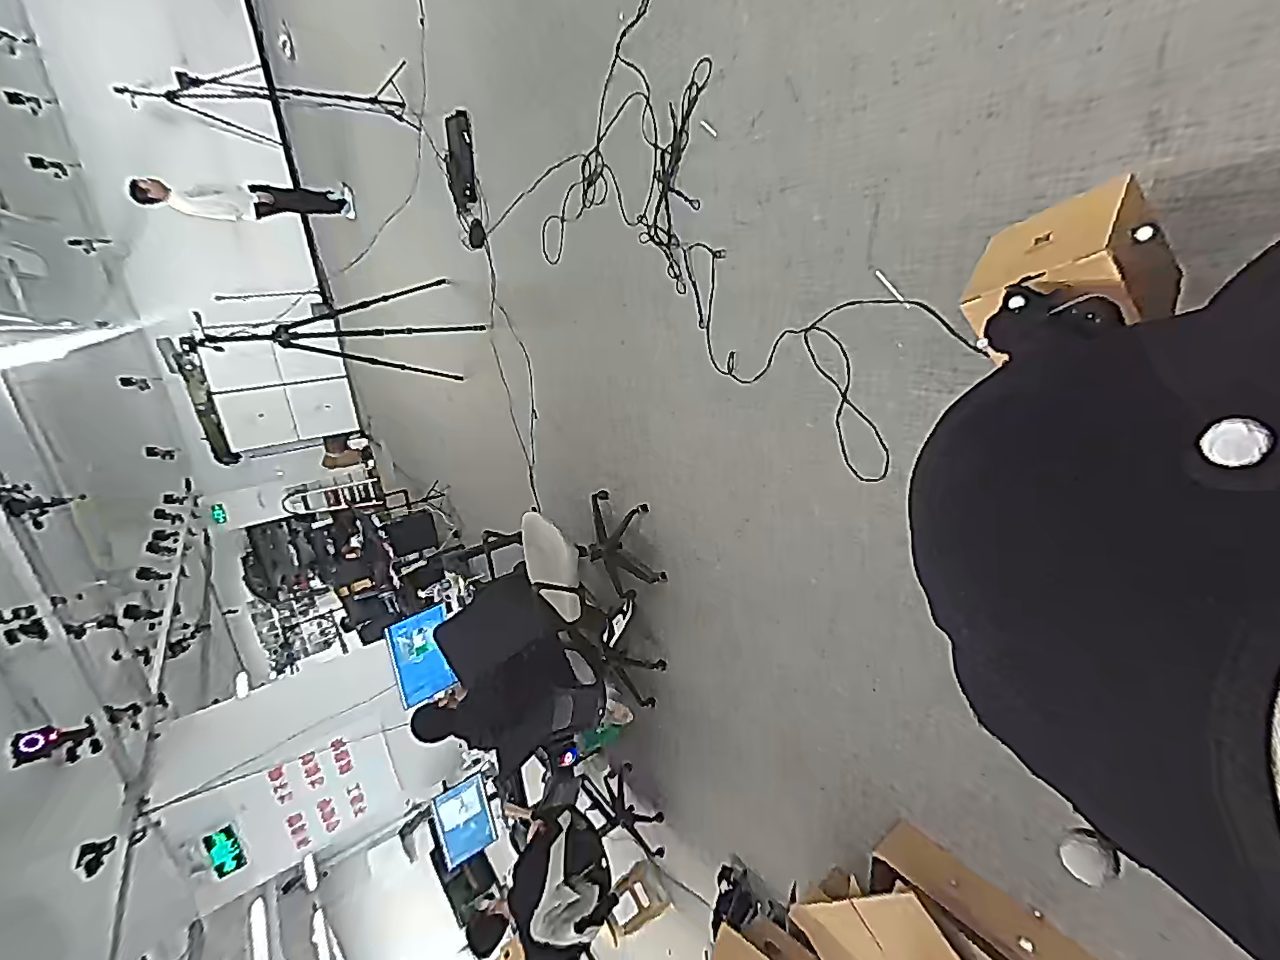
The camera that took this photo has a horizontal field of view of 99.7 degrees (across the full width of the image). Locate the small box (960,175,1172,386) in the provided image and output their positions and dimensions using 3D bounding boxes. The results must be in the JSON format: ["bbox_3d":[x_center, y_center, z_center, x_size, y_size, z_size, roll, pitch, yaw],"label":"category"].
[{"bbox_3d":[0.579,-0.259,0.734,0.176,0.179,0.168,44,155,-18],"label":"small box"}]
